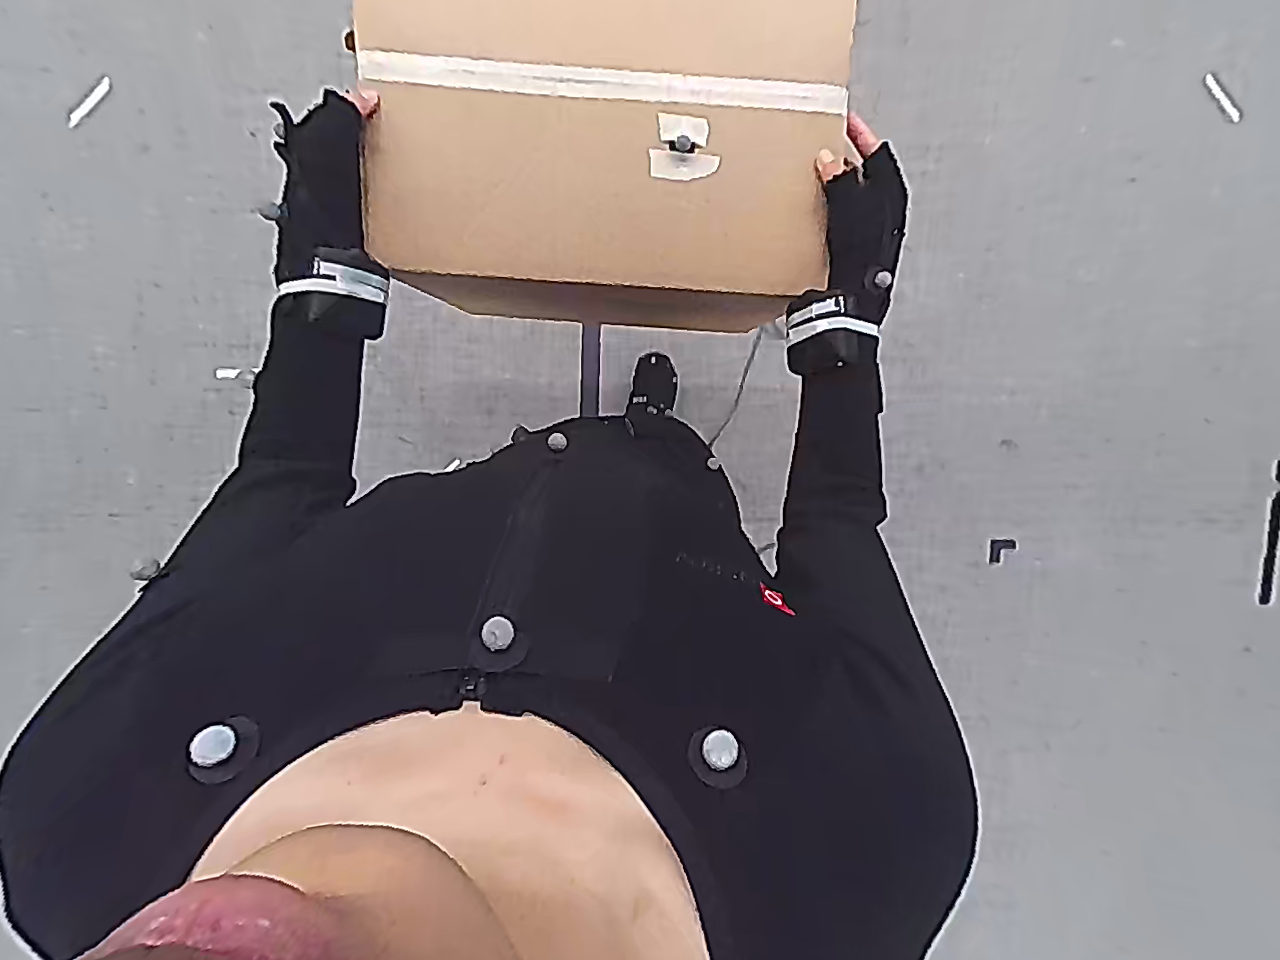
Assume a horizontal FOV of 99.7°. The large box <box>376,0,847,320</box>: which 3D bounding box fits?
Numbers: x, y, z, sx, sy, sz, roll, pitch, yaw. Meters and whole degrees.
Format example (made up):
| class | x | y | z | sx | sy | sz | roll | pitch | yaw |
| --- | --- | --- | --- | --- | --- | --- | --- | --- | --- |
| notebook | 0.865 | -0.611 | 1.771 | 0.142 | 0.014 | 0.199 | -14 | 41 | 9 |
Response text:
| class | x | y | z | sx | sy | sz | roll | pitch | yaw |
| --- | --- | --- | --- | --- | --- | --- | --- | --- | --- |
| large box | -0.031 | -0.364 | 0.611 | 0.408 | 0.320 | 0.320 | 2 | 100 | -3 |
